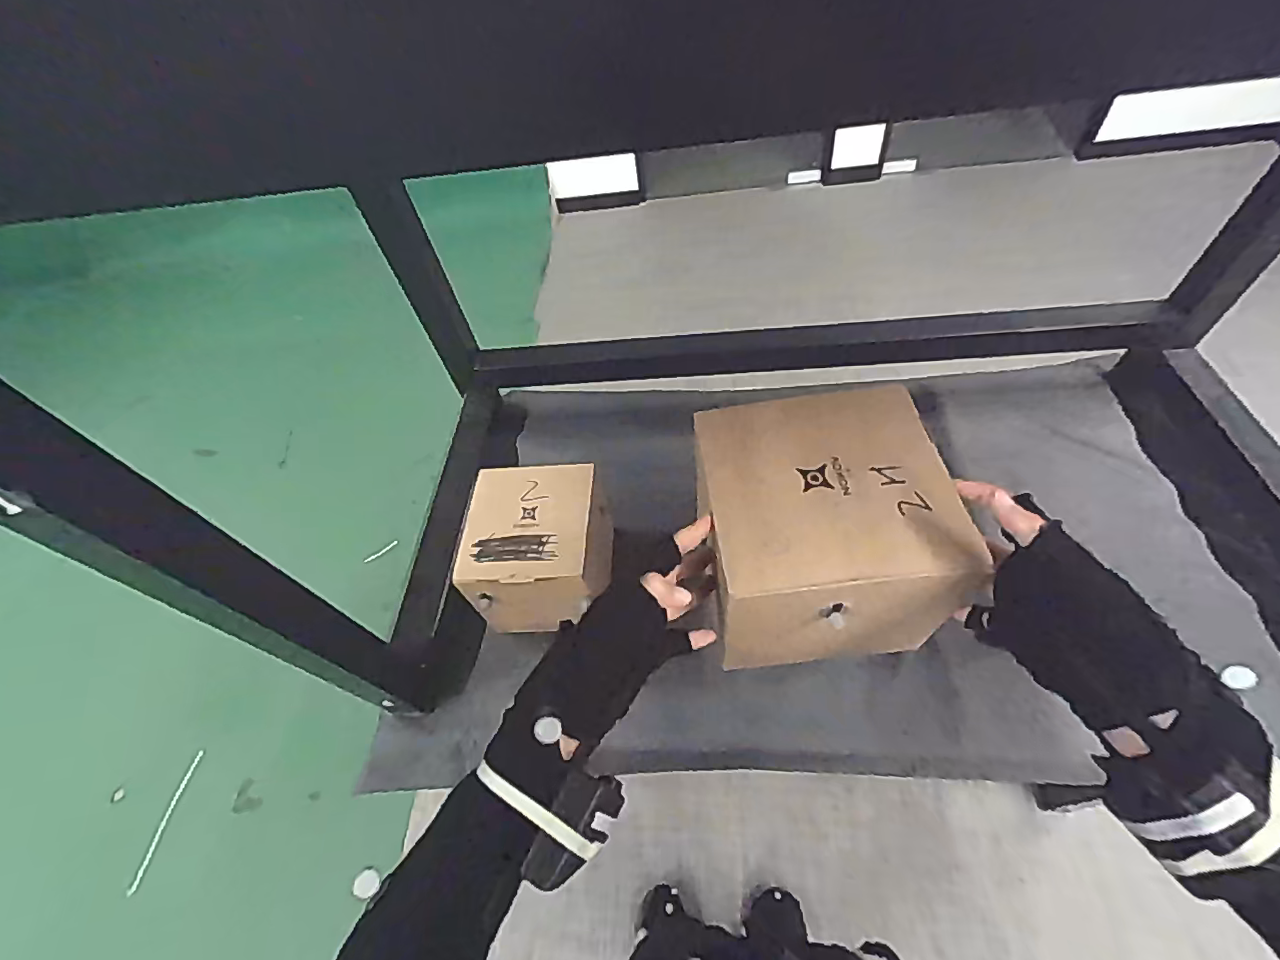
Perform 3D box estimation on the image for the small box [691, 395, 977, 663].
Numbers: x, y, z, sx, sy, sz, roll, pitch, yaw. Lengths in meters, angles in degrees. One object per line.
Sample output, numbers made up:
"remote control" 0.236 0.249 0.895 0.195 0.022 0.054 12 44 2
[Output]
"small box" 0.144 0.051 0.475 0.179 0.176 0.168 -7 55 2
